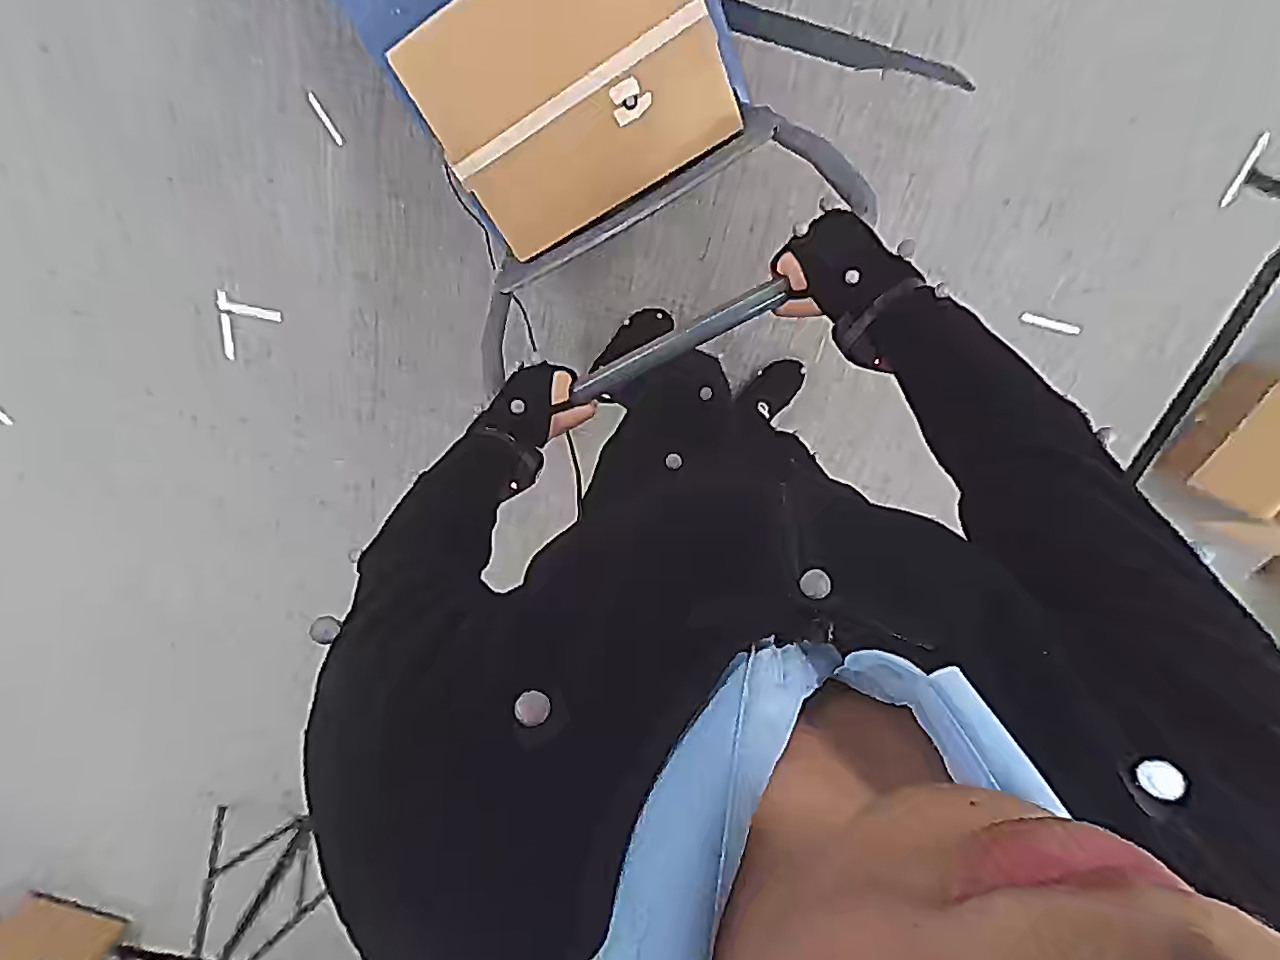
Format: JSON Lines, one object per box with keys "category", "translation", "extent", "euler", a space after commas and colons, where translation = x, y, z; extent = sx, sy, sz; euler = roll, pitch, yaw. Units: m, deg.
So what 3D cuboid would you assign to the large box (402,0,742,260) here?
{"category": "large box", "translation": [-0.101, -0.644, 0.898], "extent": [0.408, 0.320, 0.320], "euler": [-27, 125, 14]}
